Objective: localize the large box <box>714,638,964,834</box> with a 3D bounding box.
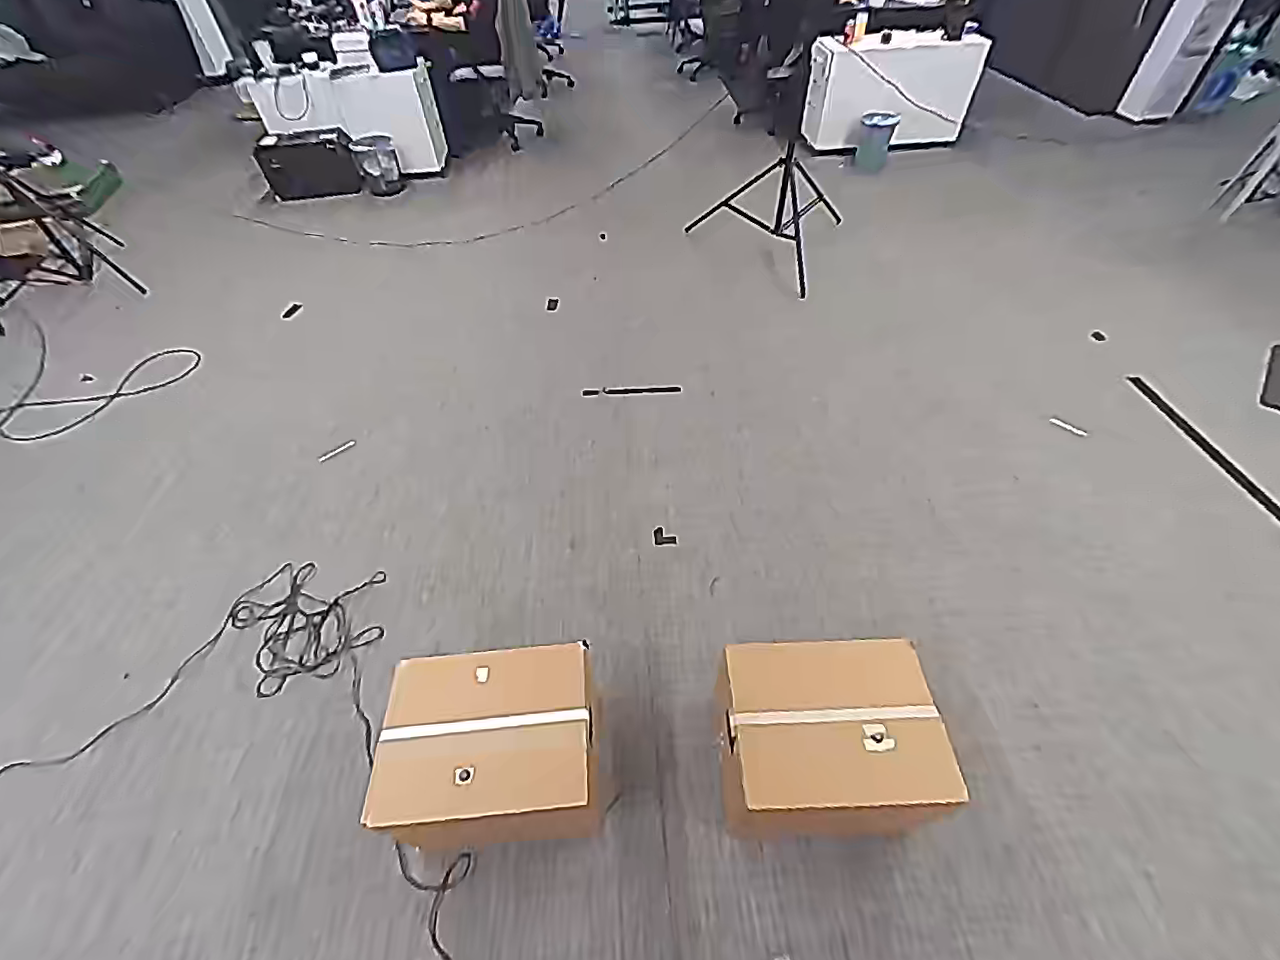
[{"bbox_3d":[0.392,0.566,1.190,0.408,0.320,0.320,-1,49,0],"label":"large box"}]
